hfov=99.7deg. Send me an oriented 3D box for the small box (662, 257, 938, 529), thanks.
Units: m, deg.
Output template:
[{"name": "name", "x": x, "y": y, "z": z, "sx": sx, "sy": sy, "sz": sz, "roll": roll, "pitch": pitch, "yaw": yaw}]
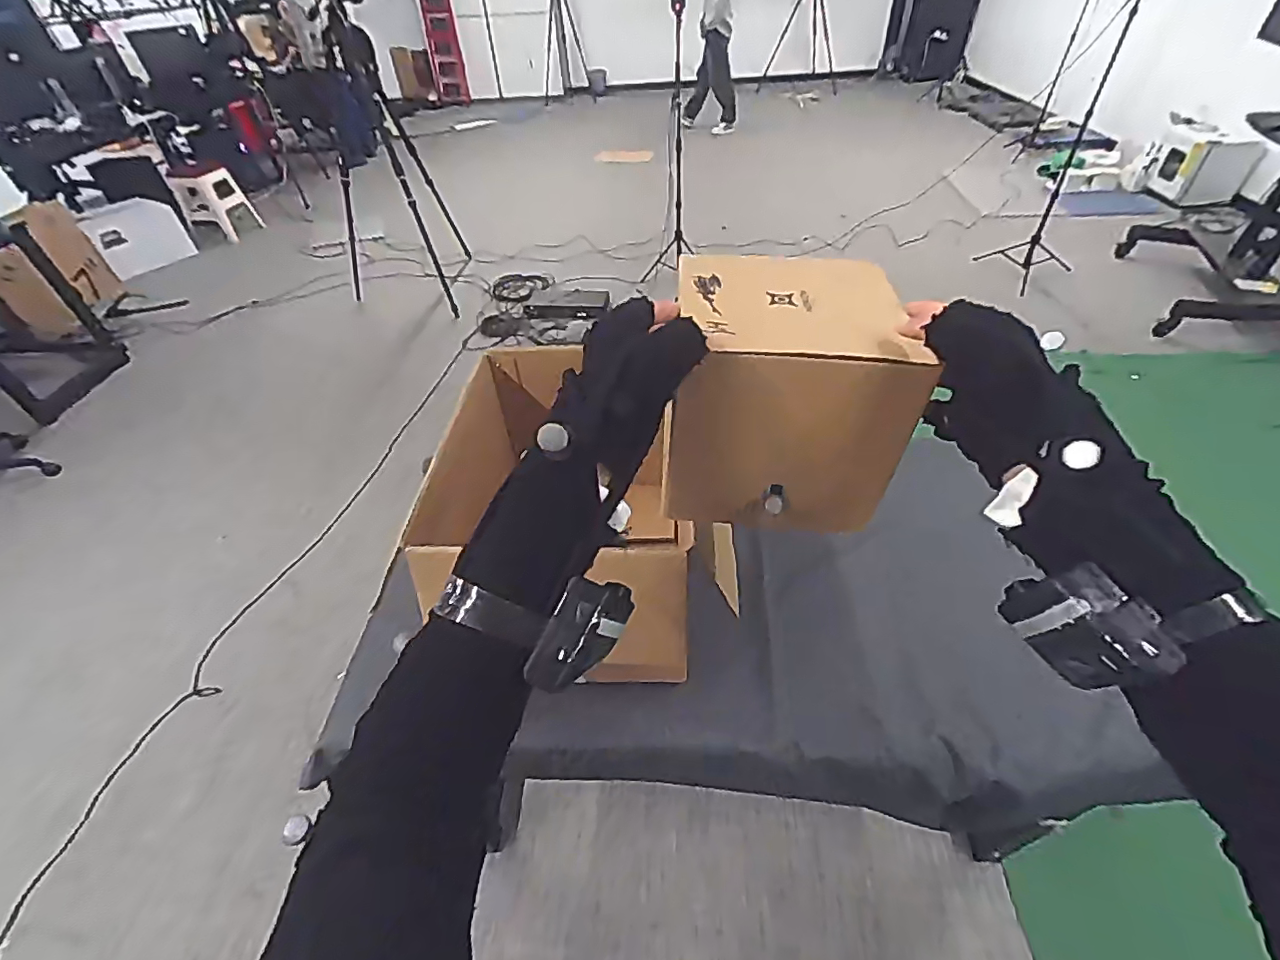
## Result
[{"name": "small box", "x": 0.115, "y": -0.073, "z": 0.471, "sx": 0.179, "sy": 0.176, "sz": 0.168, "roll": 4, "pitch": 43, "yaw": 1}]
